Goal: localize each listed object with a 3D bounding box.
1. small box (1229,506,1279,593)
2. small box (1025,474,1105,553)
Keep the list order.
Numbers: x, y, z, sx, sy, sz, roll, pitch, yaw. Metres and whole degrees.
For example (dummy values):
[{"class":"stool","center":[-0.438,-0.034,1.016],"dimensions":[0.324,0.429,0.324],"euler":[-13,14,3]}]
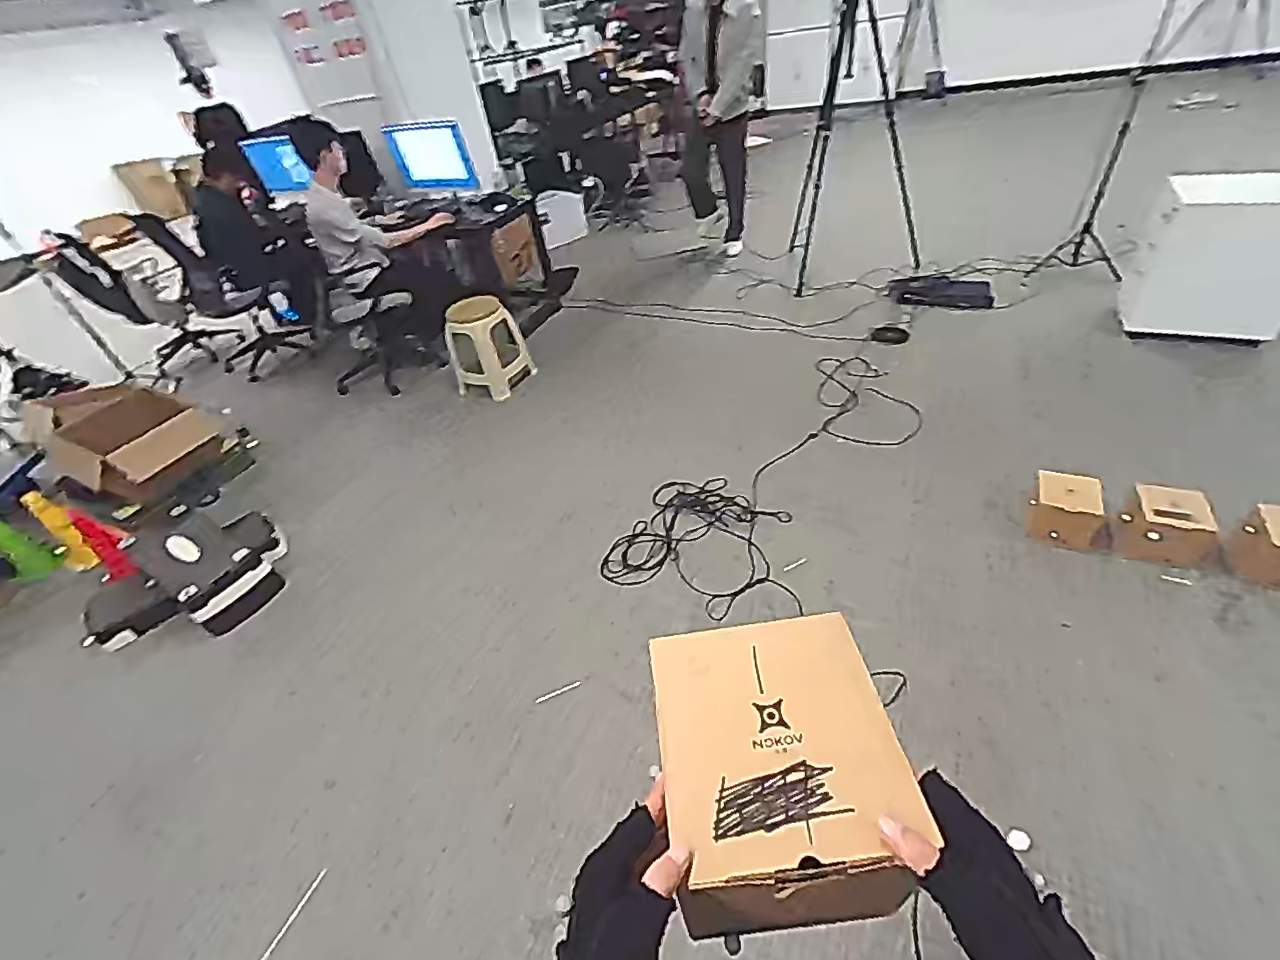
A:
[{"class":"small box","center":[1.854,0.207,1.550],"dimensions":[0.168,0.176,0.179],"euler":[12,46,26]},{"class":"small box","center":[1.383,0.109,1.771],"dimensions":[0.168,0.176,0.179],"euler":[12,46,25]}]
